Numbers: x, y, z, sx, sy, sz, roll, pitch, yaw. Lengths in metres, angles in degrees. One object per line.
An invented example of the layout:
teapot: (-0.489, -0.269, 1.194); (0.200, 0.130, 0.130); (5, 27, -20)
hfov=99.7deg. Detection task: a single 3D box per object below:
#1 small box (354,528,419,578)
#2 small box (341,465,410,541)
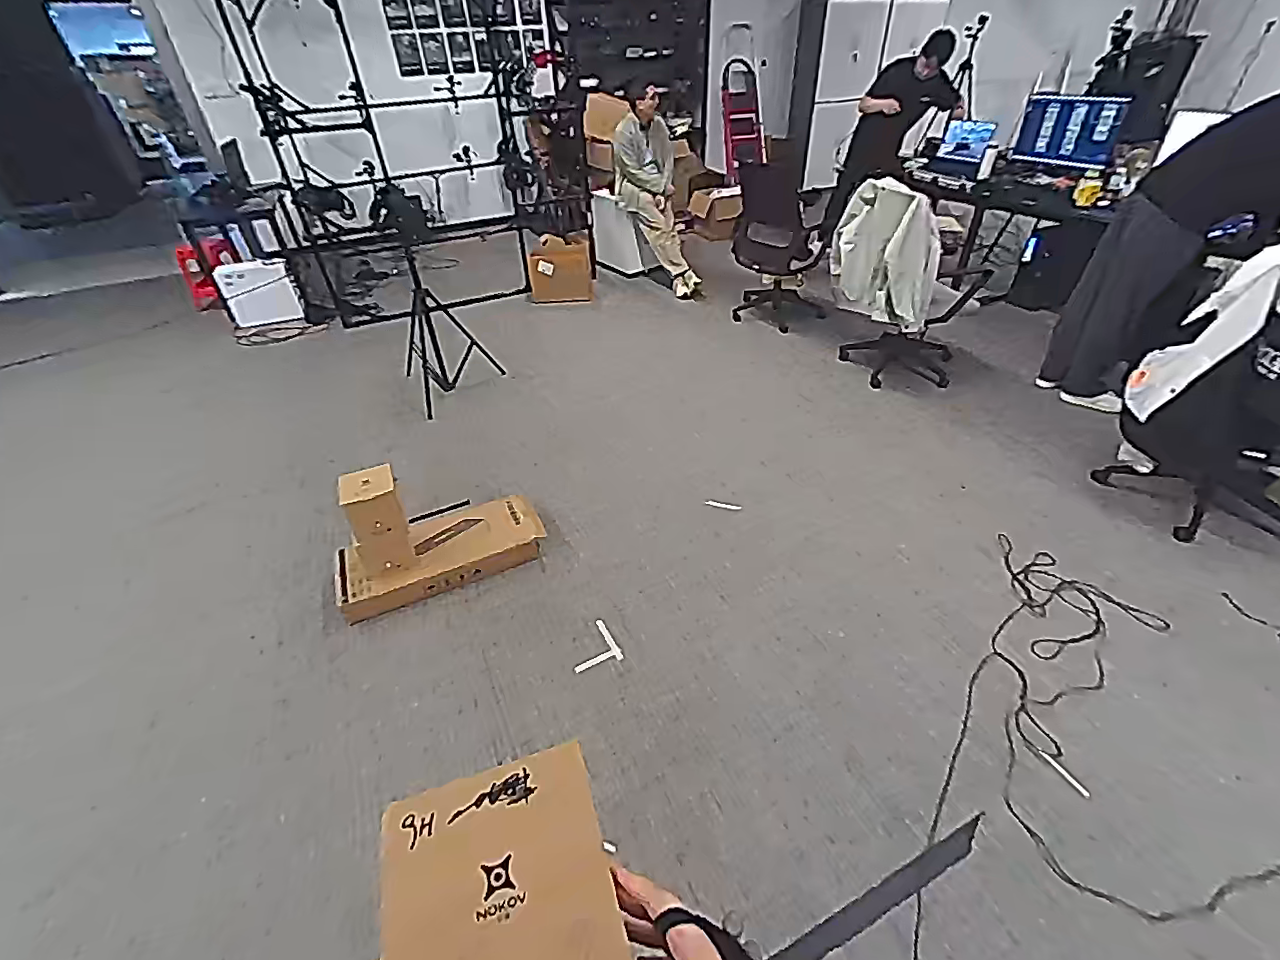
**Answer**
small box: (-0.909, 0.218, 1.934); (0.168, 0.176, 0.179); (-19, 42, -20)
small box: (-0.901, 0.079, 1.844); (0.168, 0.176, 0.179); (-18, 40, -19)
